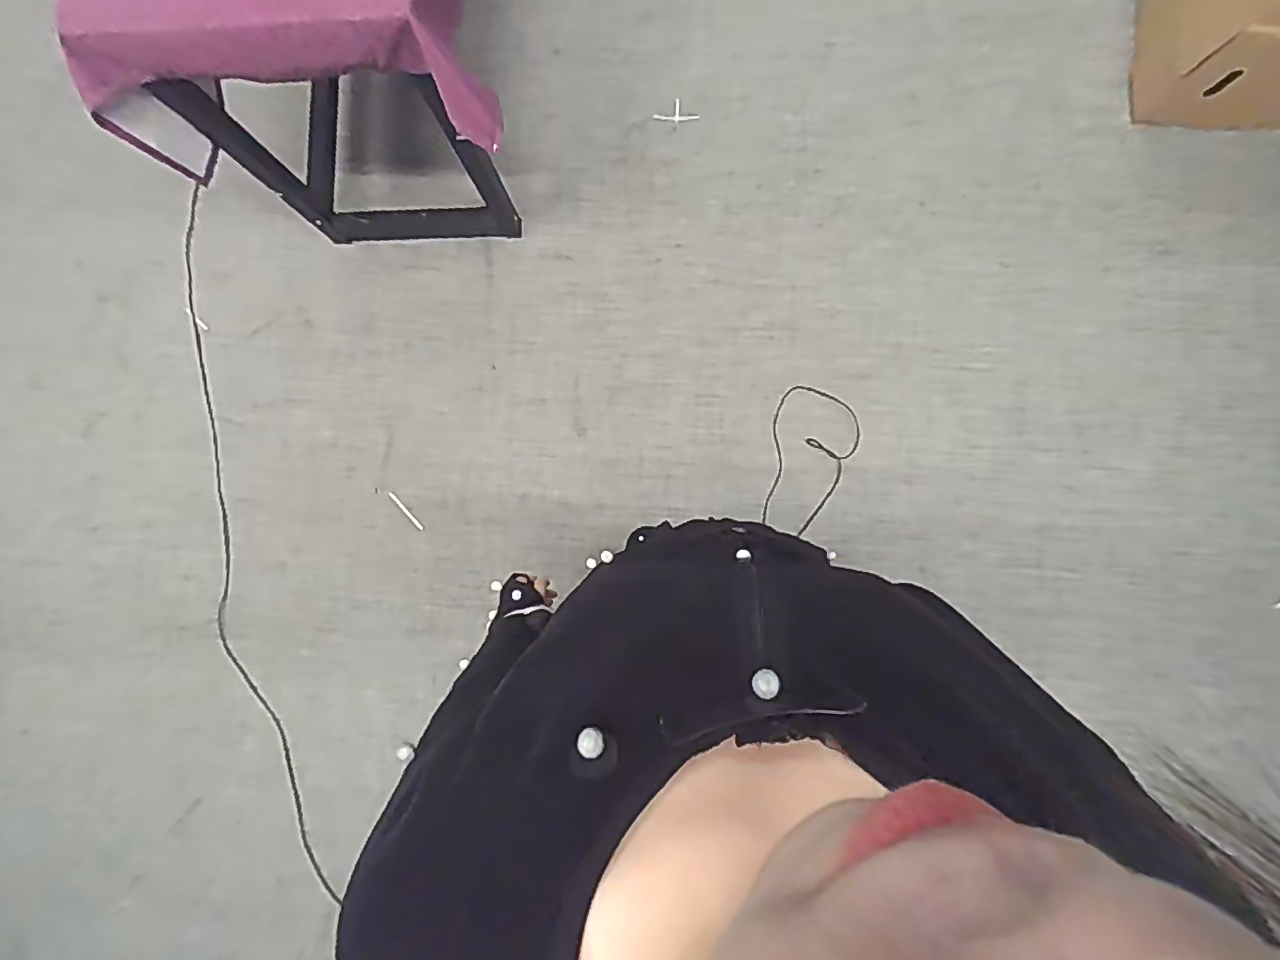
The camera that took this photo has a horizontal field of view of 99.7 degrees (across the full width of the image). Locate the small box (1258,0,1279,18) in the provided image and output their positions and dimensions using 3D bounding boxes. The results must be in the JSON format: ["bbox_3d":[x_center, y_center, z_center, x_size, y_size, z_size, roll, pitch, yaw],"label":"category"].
[{"bbox_3d":[1.474,-1.109,1.131,0.179,0.176,0.168,11,88,2],"label":"small box"}]
